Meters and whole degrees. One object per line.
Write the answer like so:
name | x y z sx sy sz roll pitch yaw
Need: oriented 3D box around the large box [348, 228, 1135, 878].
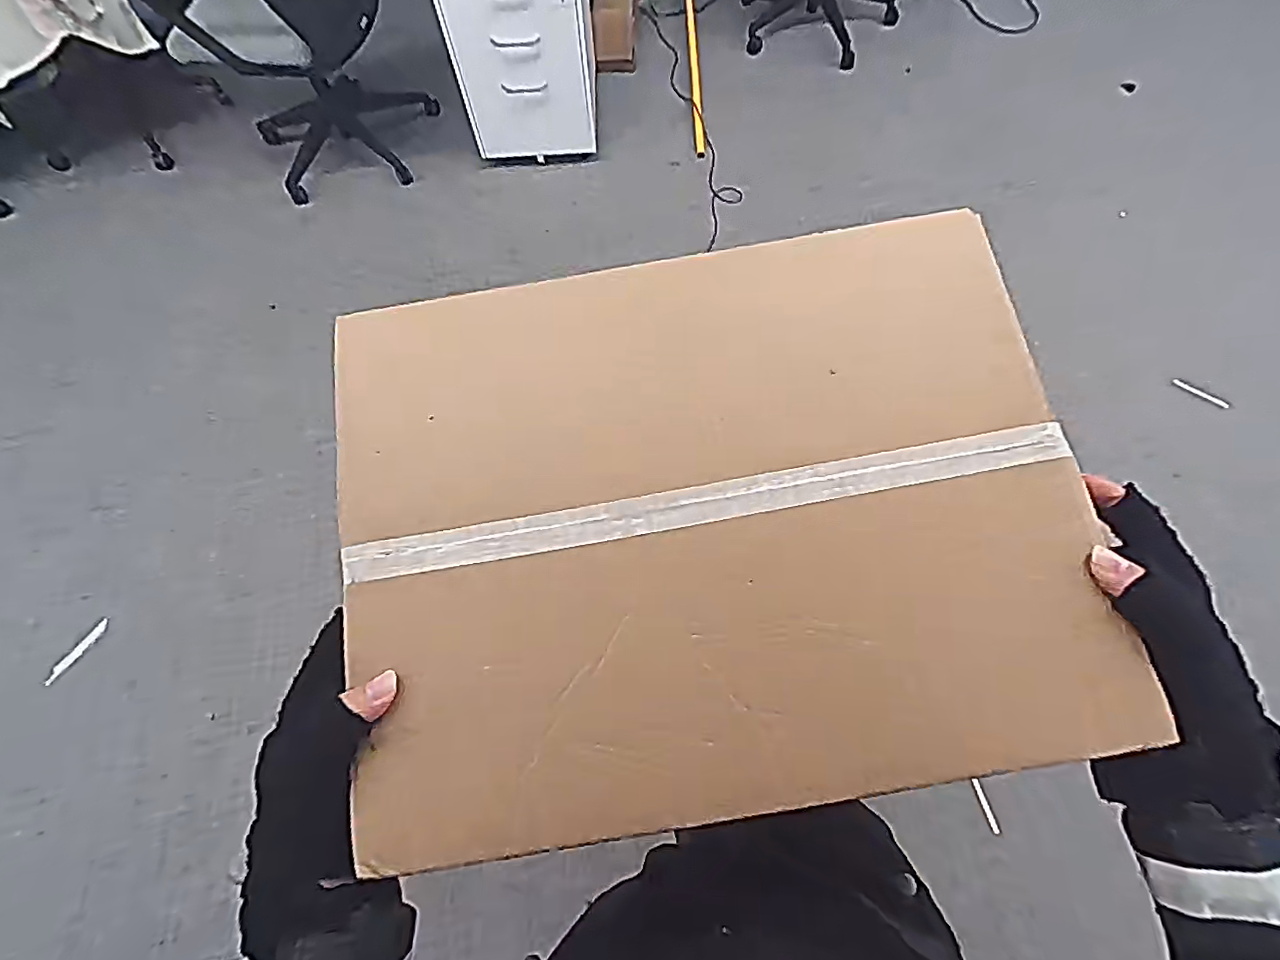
large box | 0.042 0.054 0.455 0.408 0.320 0.320 -10 75 0
